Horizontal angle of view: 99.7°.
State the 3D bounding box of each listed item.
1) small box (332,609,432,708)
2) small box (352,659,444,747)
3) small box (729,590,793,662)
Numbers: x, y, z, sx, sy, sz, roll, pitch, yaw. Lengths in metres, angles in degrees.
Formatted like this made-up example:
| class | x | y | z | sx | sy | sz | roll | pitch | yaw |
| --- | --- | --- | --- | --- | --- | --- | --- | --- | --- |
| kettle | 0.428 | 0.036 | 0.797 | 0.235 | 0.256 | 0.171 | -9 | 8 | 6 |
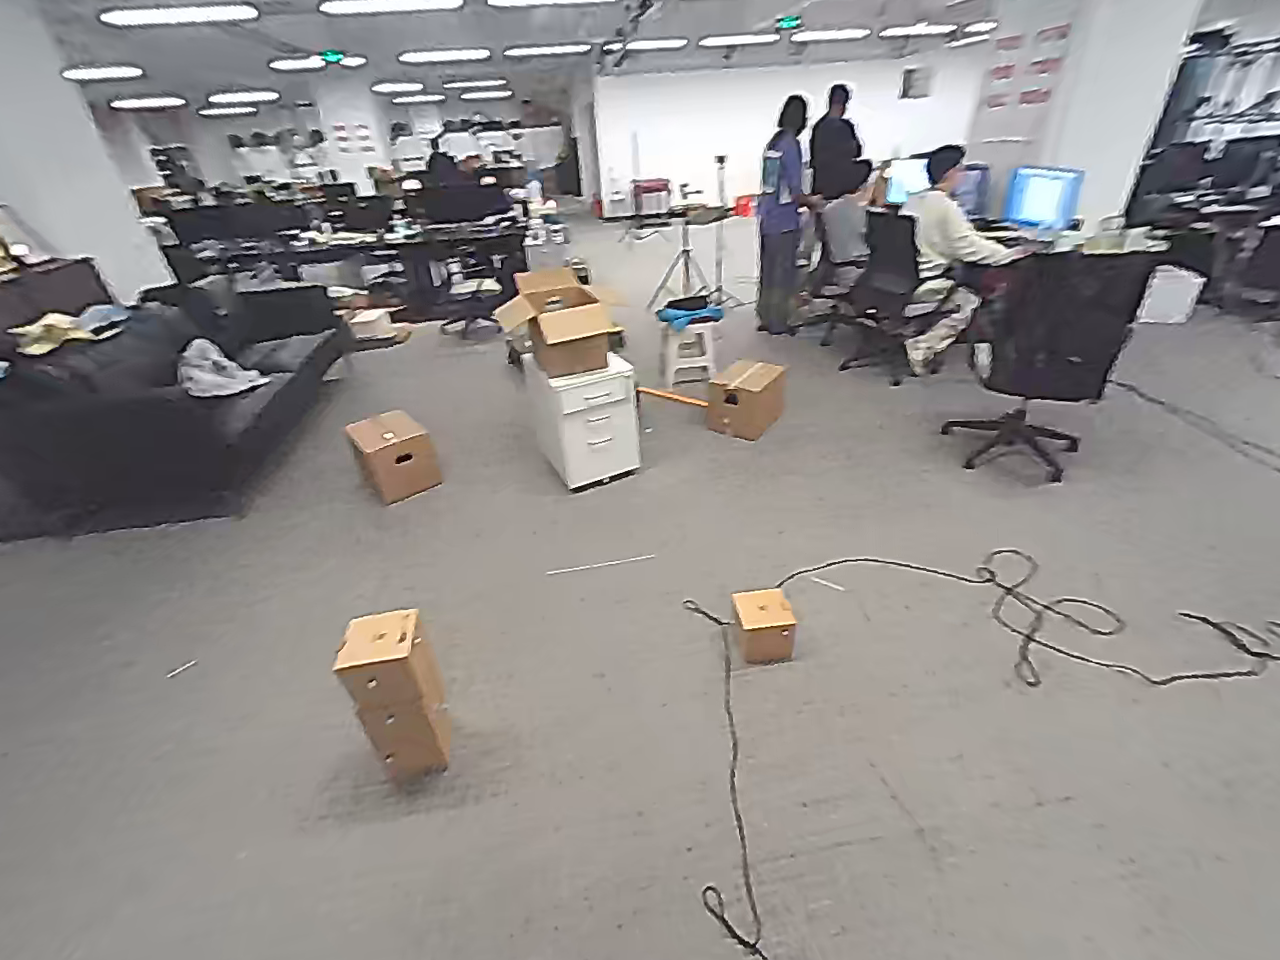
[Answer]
| class | x | y | z | sx | sy | sz | roll | pitch | yaw |
| --- | --- | --- | --- | --- | --- | --- | --- | --- | --- |
| small box | -0.667 | 0.470 | 1.420 | 0.179 | 0.176 | 0.168 | -9 | 33 | -7 |
| small box | -0.663 | 0.613 | 1.501 | 0.179 | 0.176 | 0.168 | -8 | 33 | -8 |
| small box | 0.409 | 0.505 | 1.856 | 0.179 | 0.176 | 0.168 | -6 | 32 | -5 |
